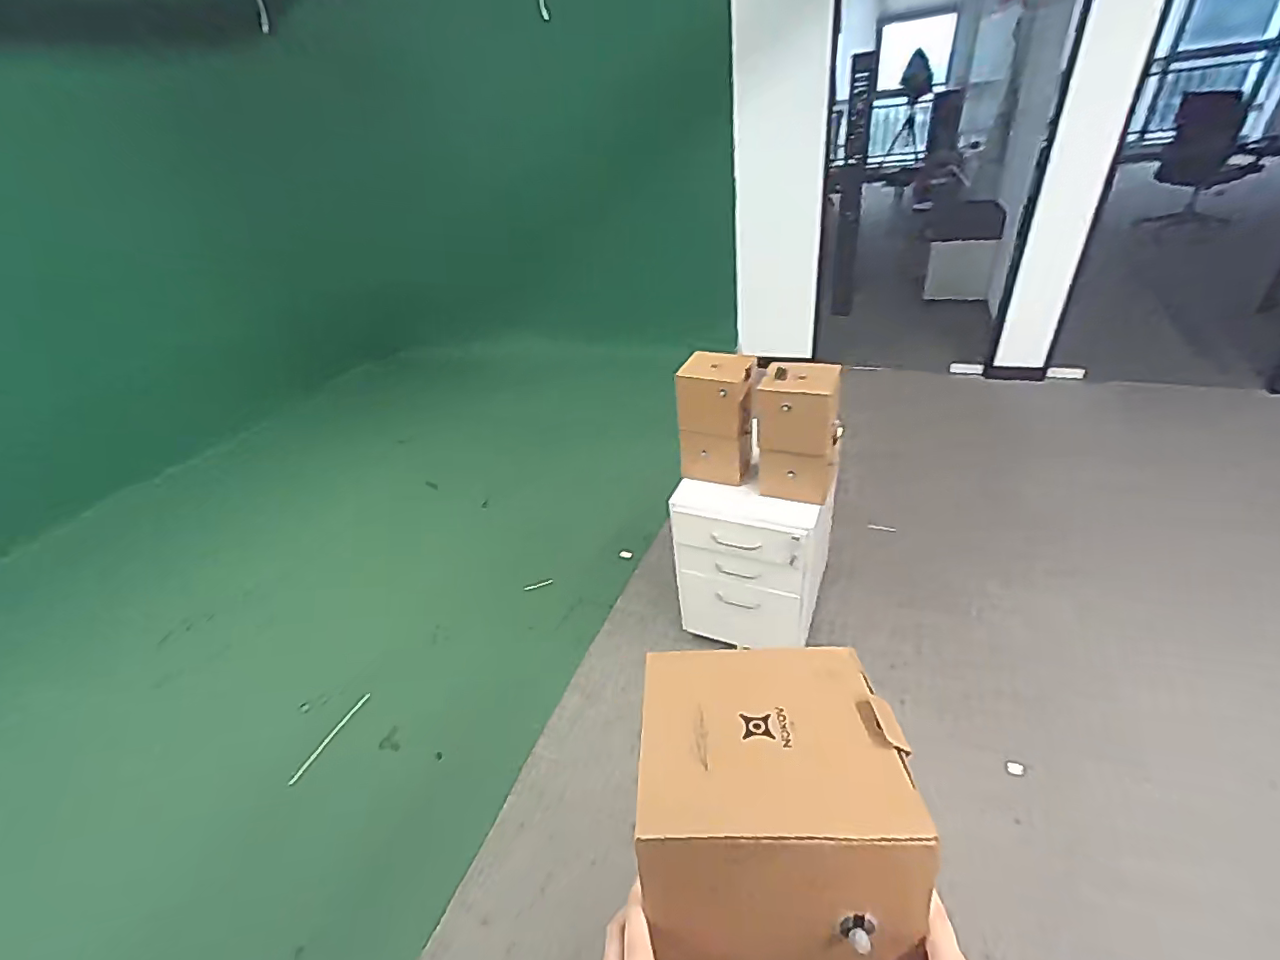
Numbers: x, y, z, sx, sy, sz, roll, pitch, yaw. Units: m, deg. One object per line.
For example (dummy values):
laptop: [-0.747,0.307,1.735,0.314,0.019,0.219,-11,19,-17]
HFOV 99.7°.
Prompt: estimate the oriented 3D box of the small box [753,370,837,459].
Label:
small box: [0.396,-0.168,1.381,0.179,0.176,0.168,9,38,24]

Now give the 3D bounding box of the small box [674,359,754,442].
small box: [0.206,-0.220,1.495,0.179,0.176,0.168,12,39,22]

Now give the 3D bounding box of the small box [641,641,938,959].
small box: [0.098,0.247,0.420,0.179,0.176,0.168,-4,21,5]

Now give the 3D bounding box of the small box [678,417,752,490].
small box: [0.223,-0.088,1.591,0.179,0.176,0.168,10,38,22]
